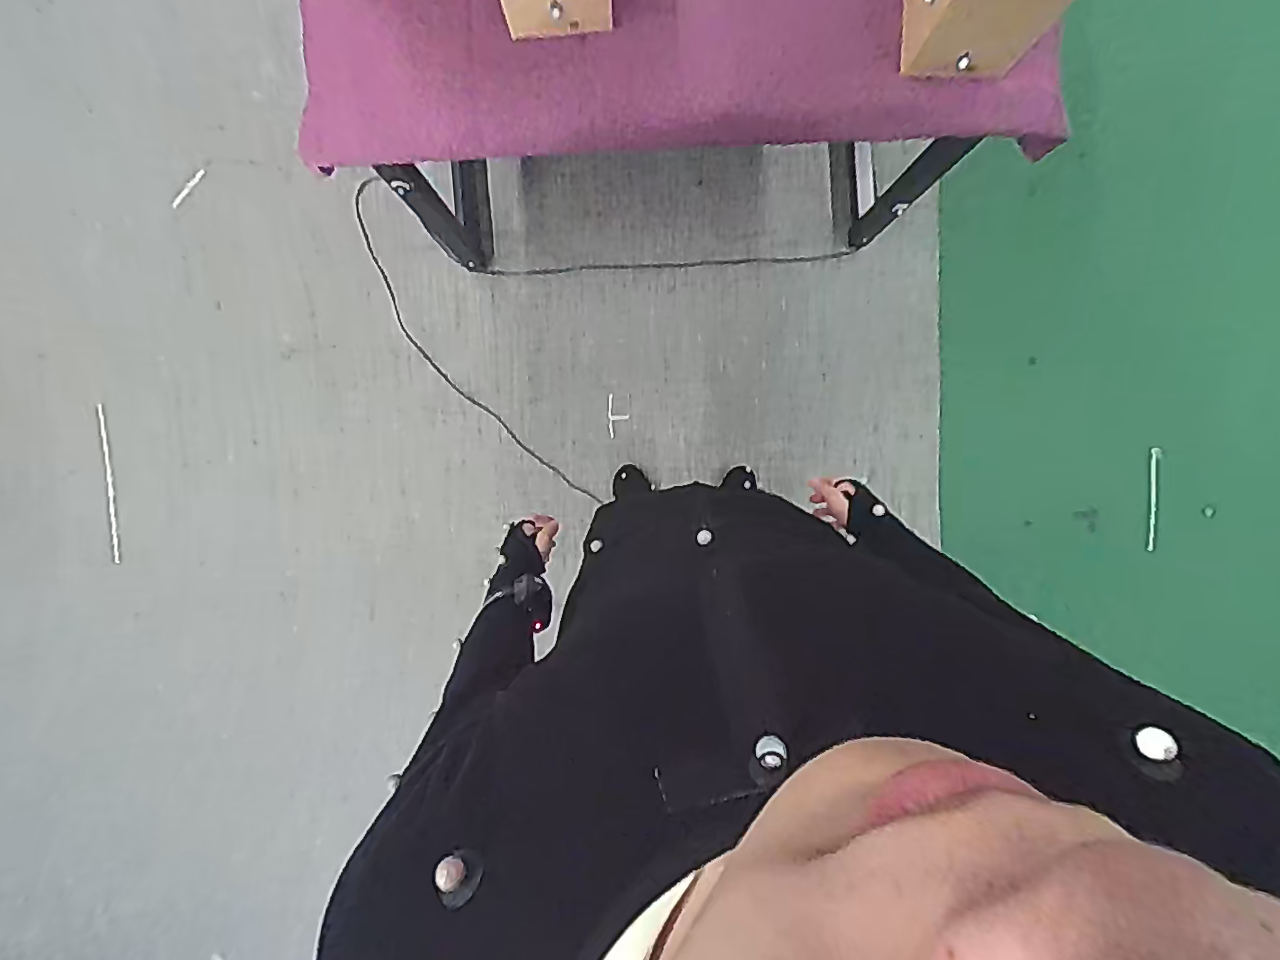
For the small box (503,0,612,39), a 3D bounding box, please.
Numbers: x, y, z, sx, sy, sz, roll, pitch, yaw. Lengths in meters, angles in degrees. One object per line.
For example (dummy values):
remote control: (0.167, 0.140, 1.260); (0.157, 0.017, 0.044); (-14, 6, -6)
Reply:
small box: (-0.130, -0.797, 0.788); (0.168, 0.176, 0.179); (-4, 93, 0)
